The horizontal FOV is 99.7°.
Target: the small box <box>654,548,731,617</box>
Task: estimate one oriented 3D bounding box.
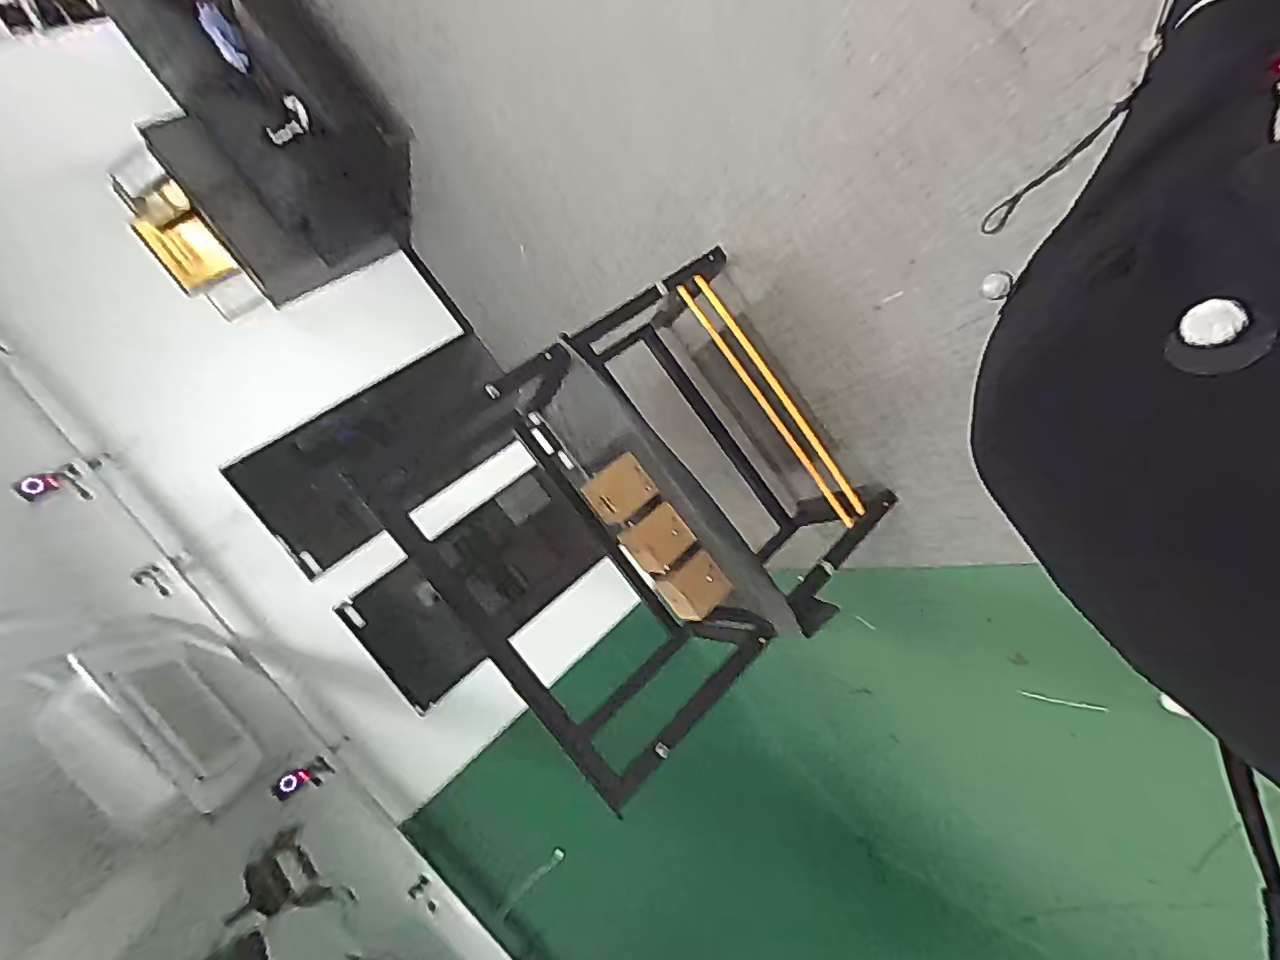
[{"bbox_3d":[0.183,0.351,1.862,0.168,0.176,0.179,52,157,-2],"label":"small box"}]
